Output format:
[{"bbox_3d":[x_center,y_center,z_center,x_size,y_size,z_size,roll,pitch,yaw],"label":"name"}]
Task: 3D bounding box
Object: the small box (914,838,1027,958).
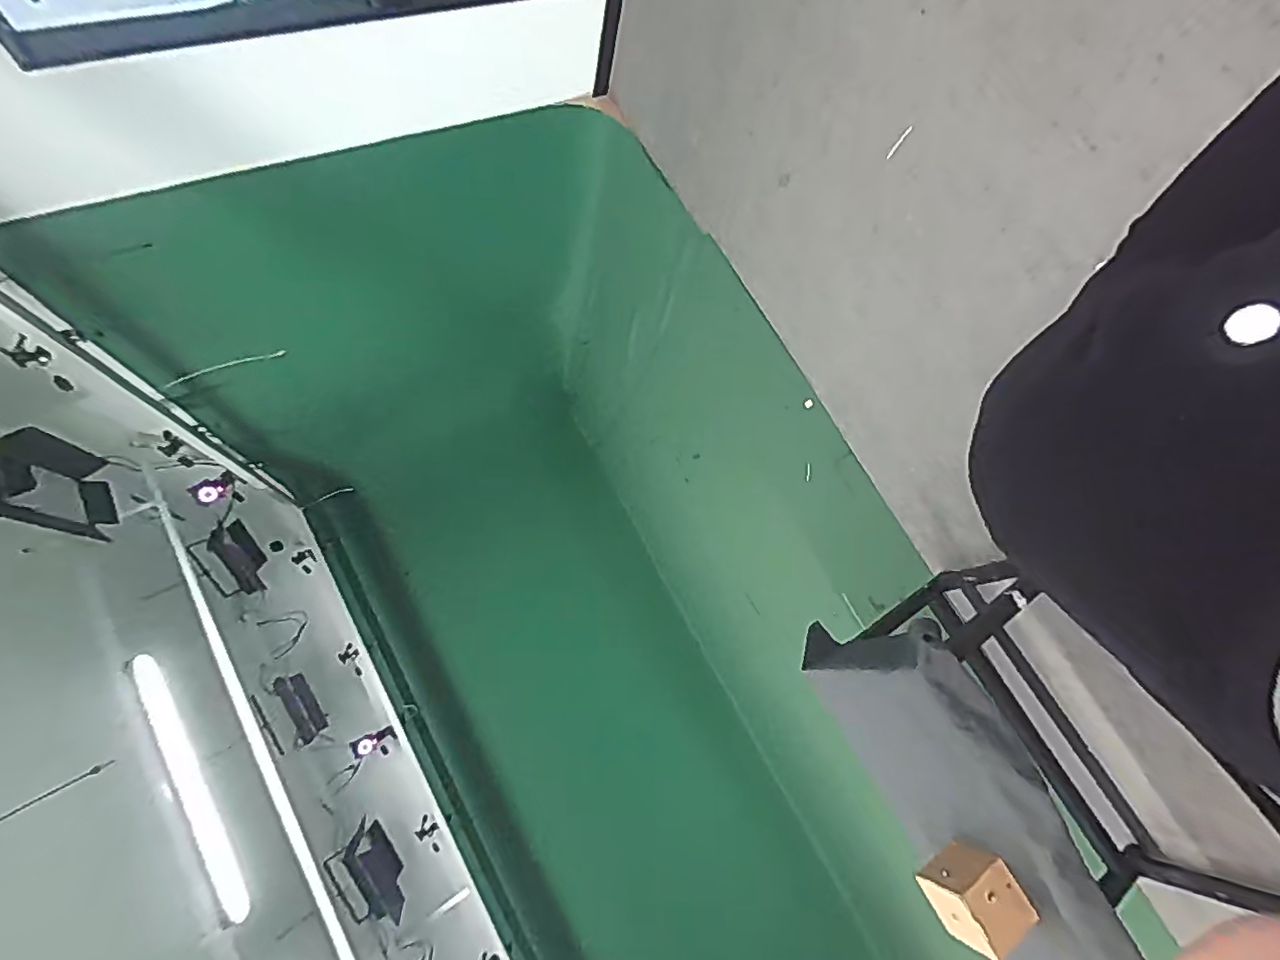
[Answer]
[{"bbox_3d":[0.897,1.114,1.461,0.168,0.176,0.179,61,161,11],"label":"small box"}]
